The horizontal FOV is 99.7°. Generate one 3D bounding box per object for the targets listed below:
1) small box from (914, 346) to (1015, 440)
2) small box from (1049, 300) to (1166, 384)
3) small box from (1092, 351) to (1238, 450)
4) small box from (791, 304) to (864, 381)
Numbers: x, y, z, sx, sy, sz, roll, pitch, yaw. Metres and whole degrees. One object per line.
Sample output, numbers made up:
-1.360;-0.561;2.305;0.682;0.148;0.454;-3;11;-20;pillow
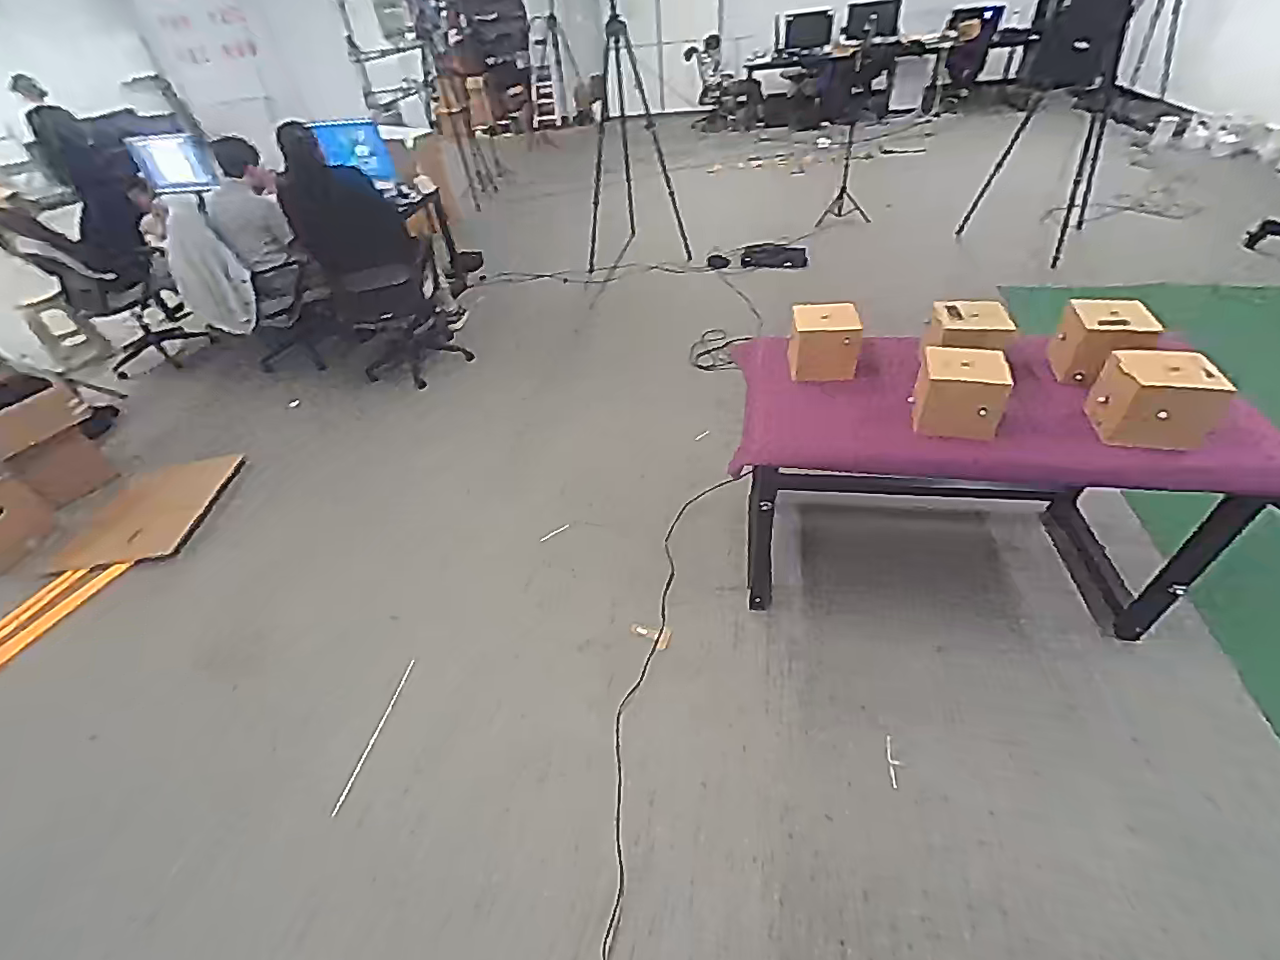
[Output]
0.803;-0.217;1.355;0.179;0.176;0.168;8;43;18;small box
1.245;-0.368;1.456;0.168;0.176;0.179;7;43;16;small box
1.200;-0.186;1.260;0.179;0.176;0.168;6;43;16;small box
0.546;-0.405;1.601;0.179;0.176;0.168;1;43;8;small box
